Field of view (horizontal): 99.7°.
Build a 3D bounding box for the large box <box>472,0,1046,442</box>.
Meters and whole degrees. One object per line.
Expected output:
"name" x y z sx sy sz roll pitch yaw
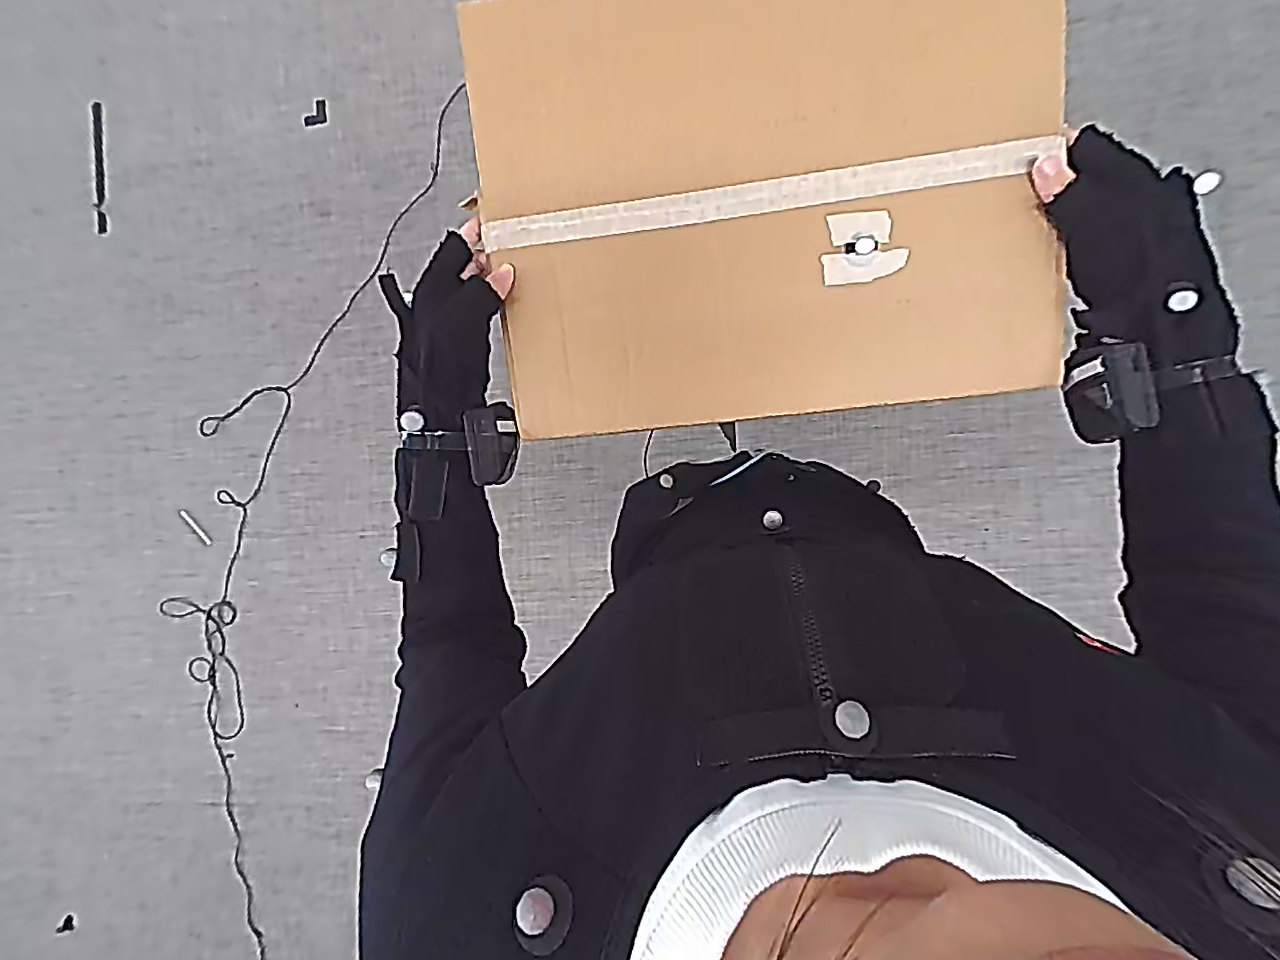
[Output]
"large box" 0.099 -0.226 0.548 0.408 0.320 0.320 -6 99 5
